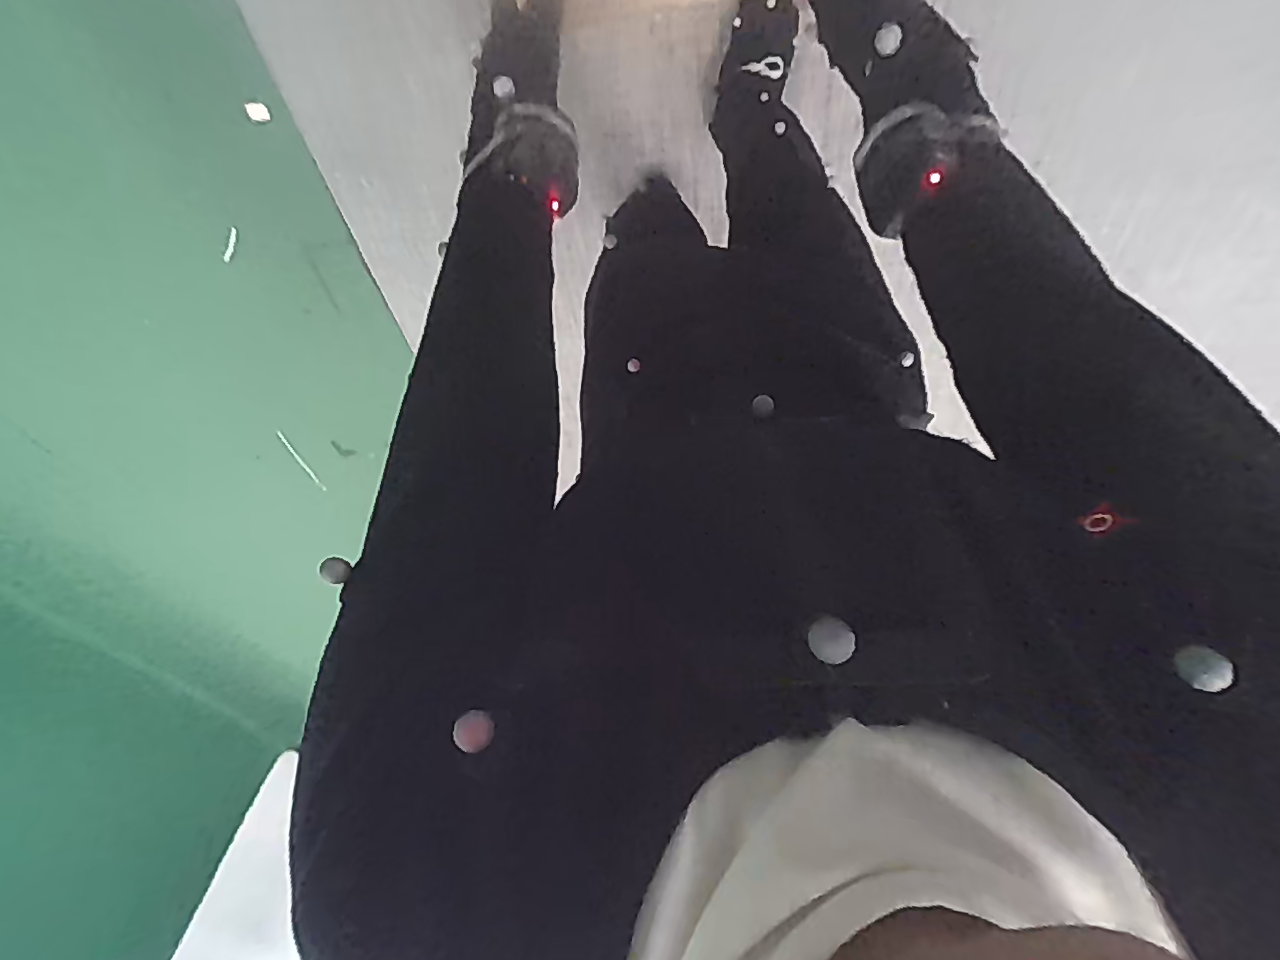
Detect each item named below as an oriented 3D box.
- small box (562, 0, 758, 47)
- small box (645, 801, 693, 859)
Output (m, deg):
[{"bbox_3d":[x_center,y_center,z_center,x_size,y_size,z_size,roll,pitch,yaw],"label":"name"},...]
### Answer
[{"bbox_3d":[0.014,-0.511,0.465,0.179,0.176,0.168,-4,137,13],"label":"small box"},{"bbox_3d":[0.126,1.446,2.235,0.179,0.176,0.168,-1,137,13],"label":"small box"}]
